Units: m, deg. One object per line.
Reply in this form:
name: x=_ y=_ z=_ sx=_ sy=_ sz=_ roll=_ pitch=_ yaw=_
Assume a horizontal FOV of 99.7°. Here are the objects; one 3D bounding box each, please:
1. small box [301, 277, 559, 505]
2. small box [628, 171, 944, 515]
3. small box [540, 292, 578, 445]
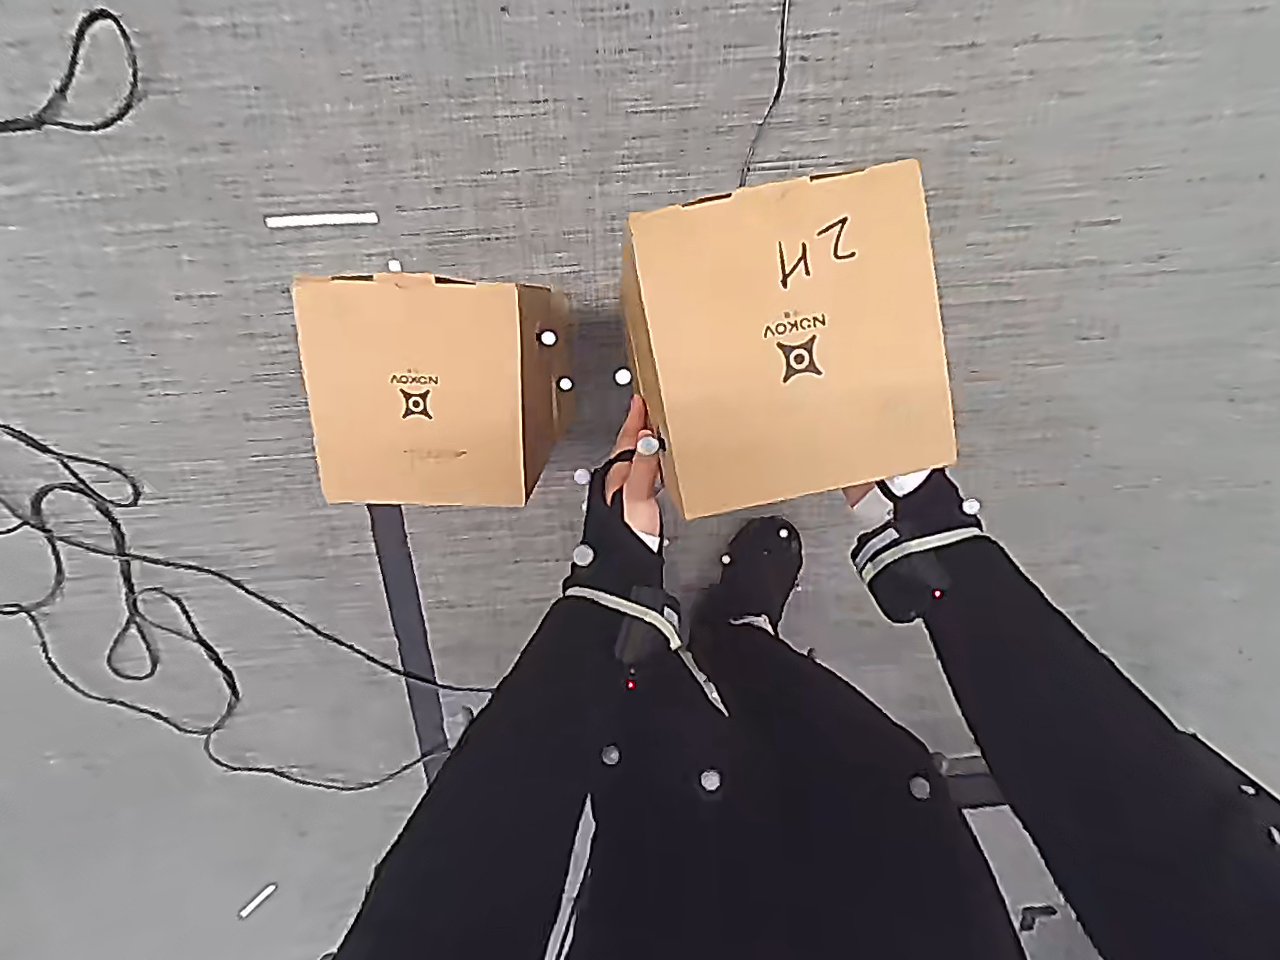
small box: x=-0.168 y=-0.088 z=0.495 sx=0.168 sy=0.176 sz=0.179 roll=1 pitch=109 yaw=0
small box: x=0.087 y=-0.087 z=0.396 sx=0.168 sy=0.176 sz=0.179 roll=-12 pitch=97 yaw=-1
small box: x=-0.175 y=-0.135 z=0.653 sx=0.179 sy=0.176 sz=0.168 roll=-3 pitch=108 yaw=-1
